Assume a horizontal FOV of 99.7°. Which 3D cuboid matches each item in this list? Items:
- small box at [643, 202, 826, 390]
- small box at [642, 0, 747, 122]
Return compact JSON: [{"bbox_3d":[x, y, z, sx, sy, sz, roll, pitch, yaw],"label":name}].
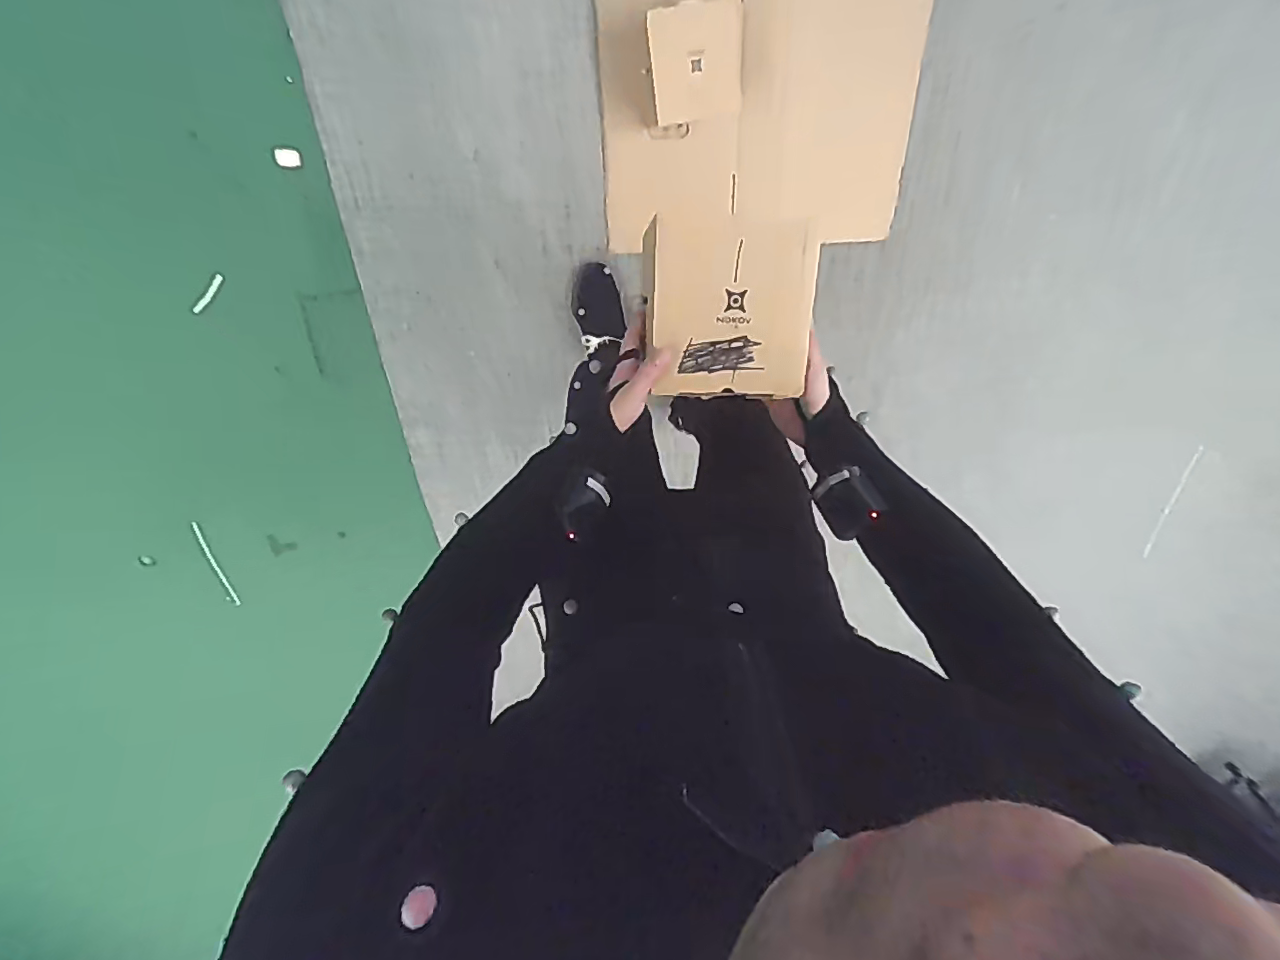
[{"bbox_3d":[0.091,-0.204,0.614,0.168,0.176,0.179,0,108,-3],"label":"small box"},{"bbox_3d":[0.101,-0.808,1.039,0.168,0.176,0.179,-10,122,-1],"label":"small box"}]
